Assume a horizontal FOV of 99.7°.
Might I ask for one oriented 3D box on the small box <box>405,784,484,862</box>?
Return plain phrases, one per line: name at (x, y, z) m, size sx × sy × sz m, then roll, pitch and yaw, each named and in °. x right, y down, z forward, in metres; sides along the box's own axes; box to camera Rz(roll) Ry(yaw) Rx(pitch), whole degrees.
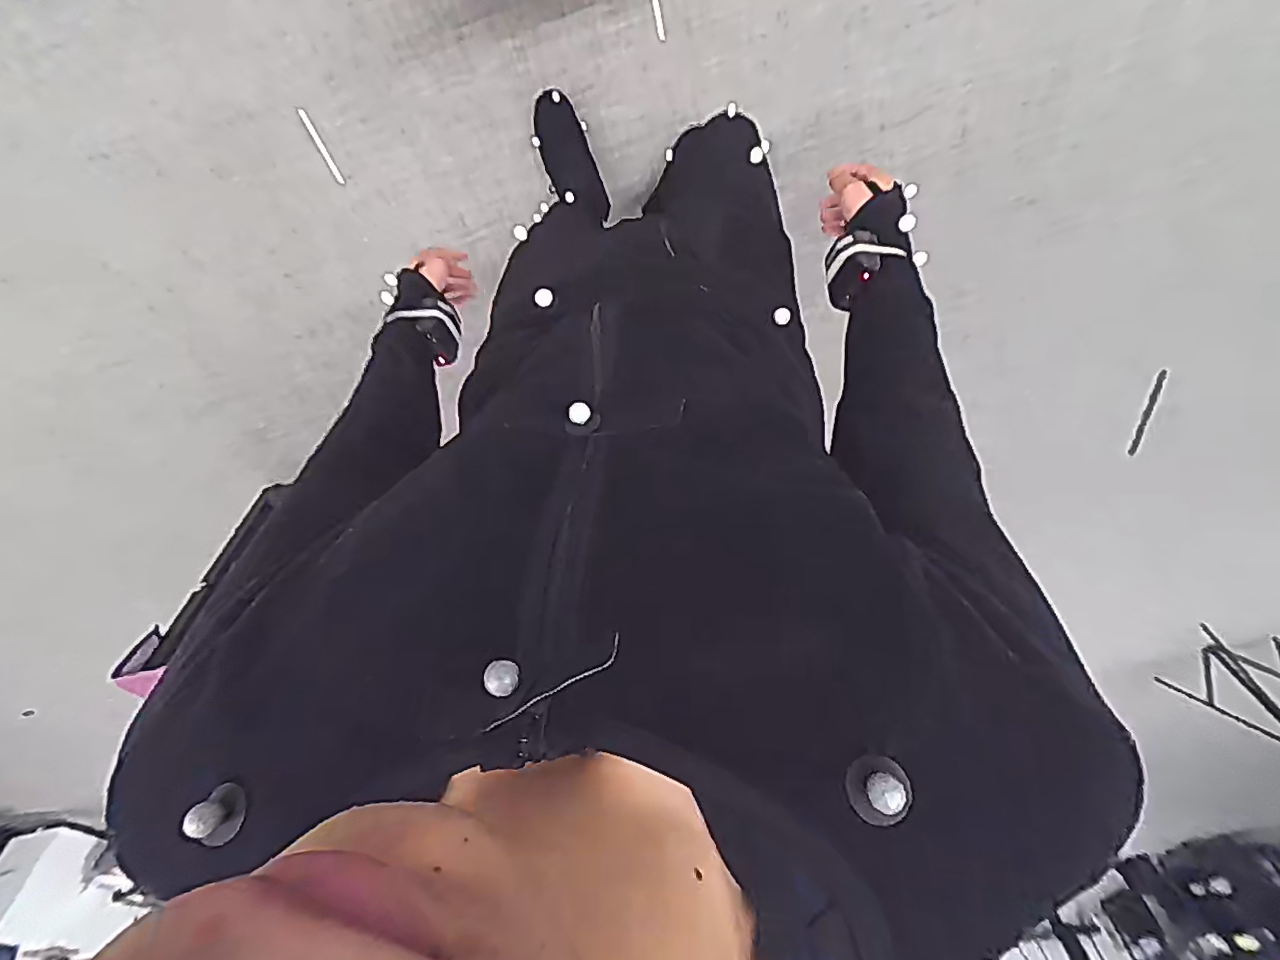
small box at (-0.636, 1.130, 1.787) m, size 0.179 × 0.176 × 0.168 m, roll -24°, pitch 128°, yaw 15°
